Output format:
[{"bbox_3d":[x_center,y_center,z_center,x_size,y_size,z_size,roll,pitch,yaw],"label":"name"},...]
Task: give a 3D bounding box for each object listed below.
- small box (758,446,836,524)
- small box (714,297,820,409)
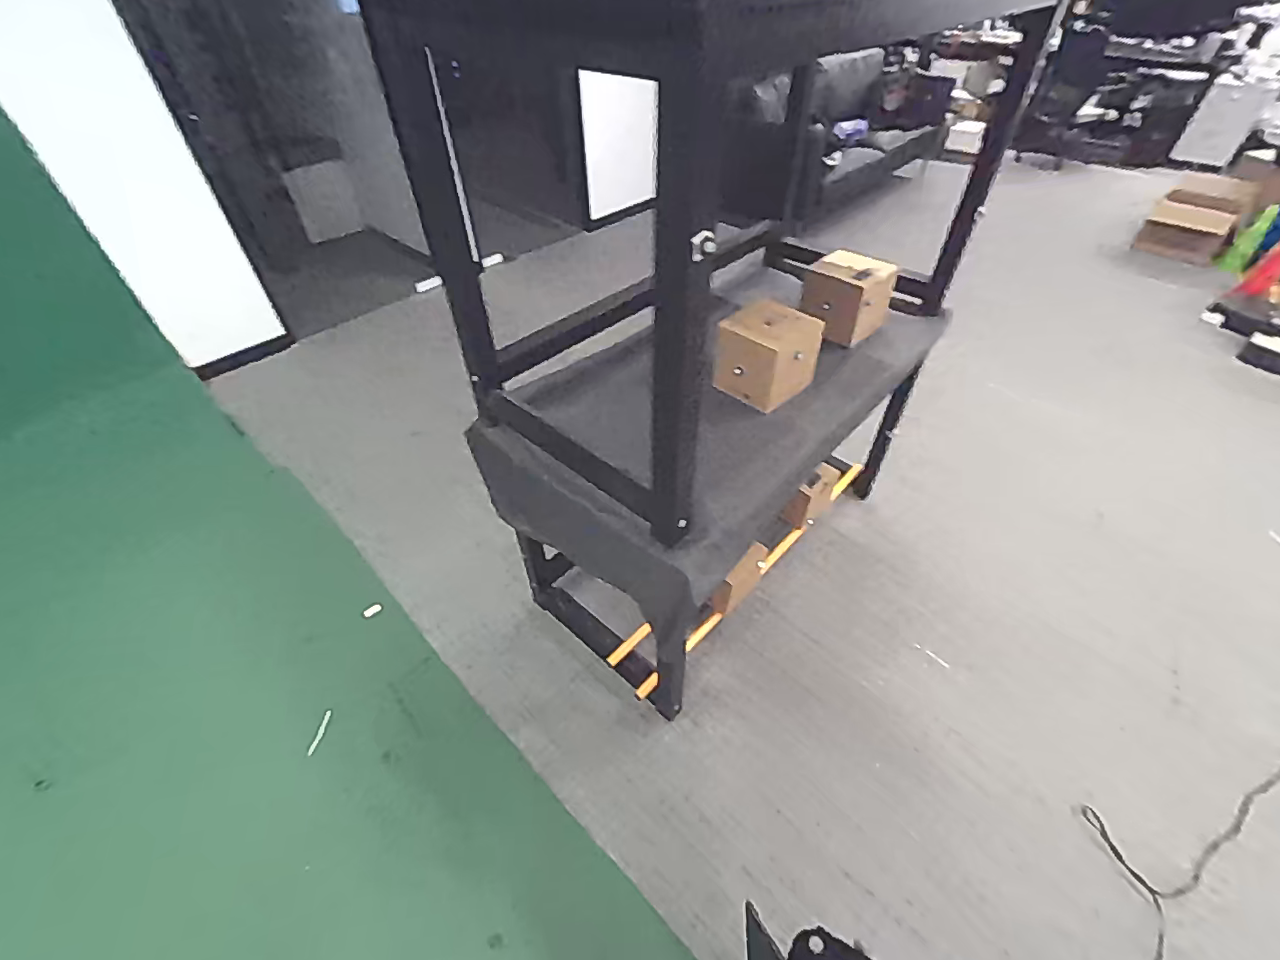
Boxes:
[{"bbox_3d":[0.522,0.023,1.813,0.168,0.176,0.179,-34,54,-29],"label":"small box"},{"bbox_3d":[0.285,-0.292,1.249,0.179,0.176,0.168,-35,54,-29],"label":"small box"}]
